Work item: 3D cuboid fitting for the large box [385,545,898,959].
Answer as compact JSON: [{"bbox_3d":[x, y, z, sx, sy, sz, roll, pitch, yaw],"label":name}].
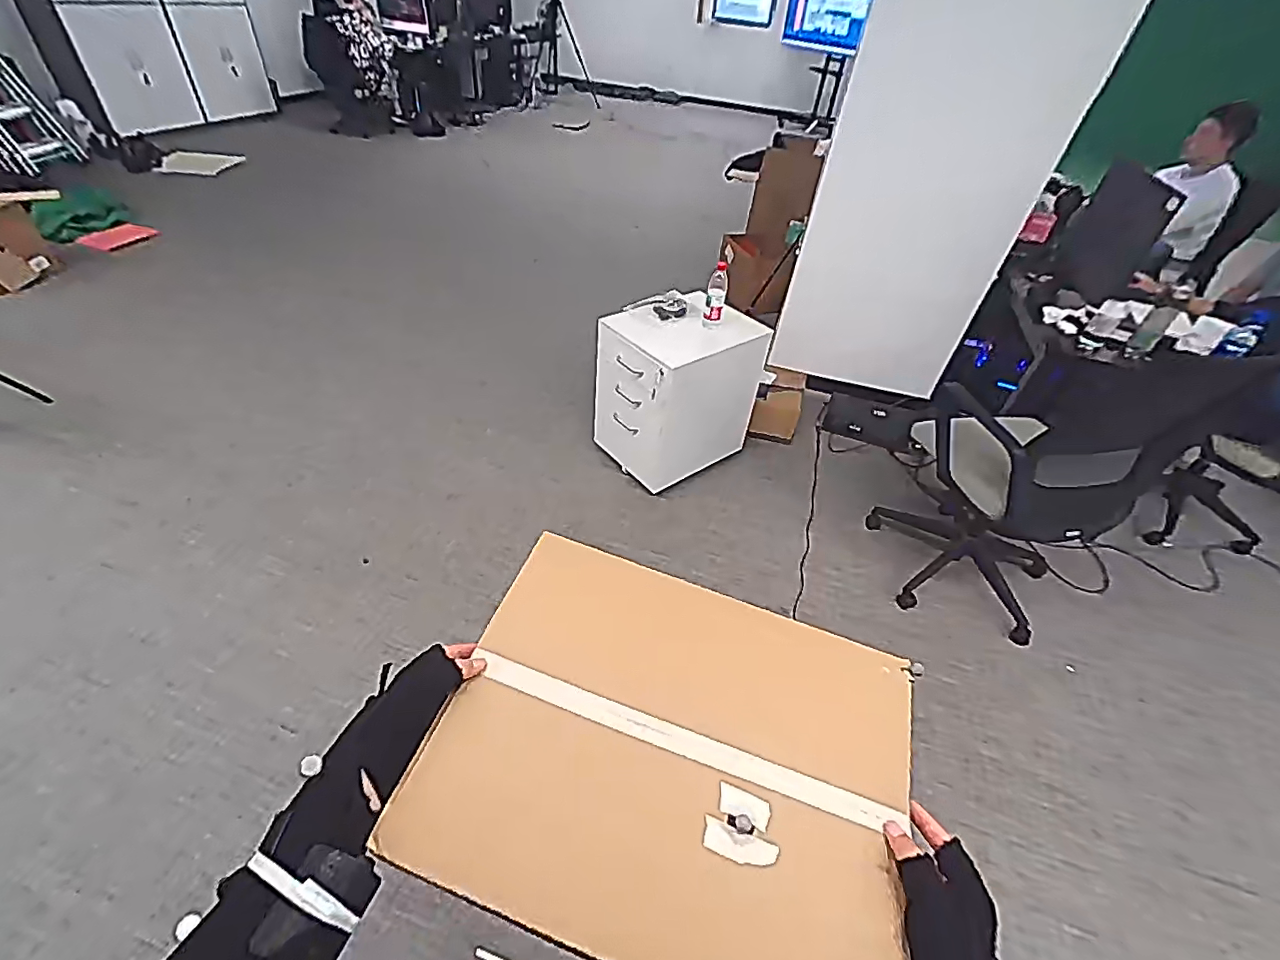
[{"bbox_3d":[0.014,0.333,0.600,0.408,0.320,0.320,19,50,7],"label":"large box"}]
